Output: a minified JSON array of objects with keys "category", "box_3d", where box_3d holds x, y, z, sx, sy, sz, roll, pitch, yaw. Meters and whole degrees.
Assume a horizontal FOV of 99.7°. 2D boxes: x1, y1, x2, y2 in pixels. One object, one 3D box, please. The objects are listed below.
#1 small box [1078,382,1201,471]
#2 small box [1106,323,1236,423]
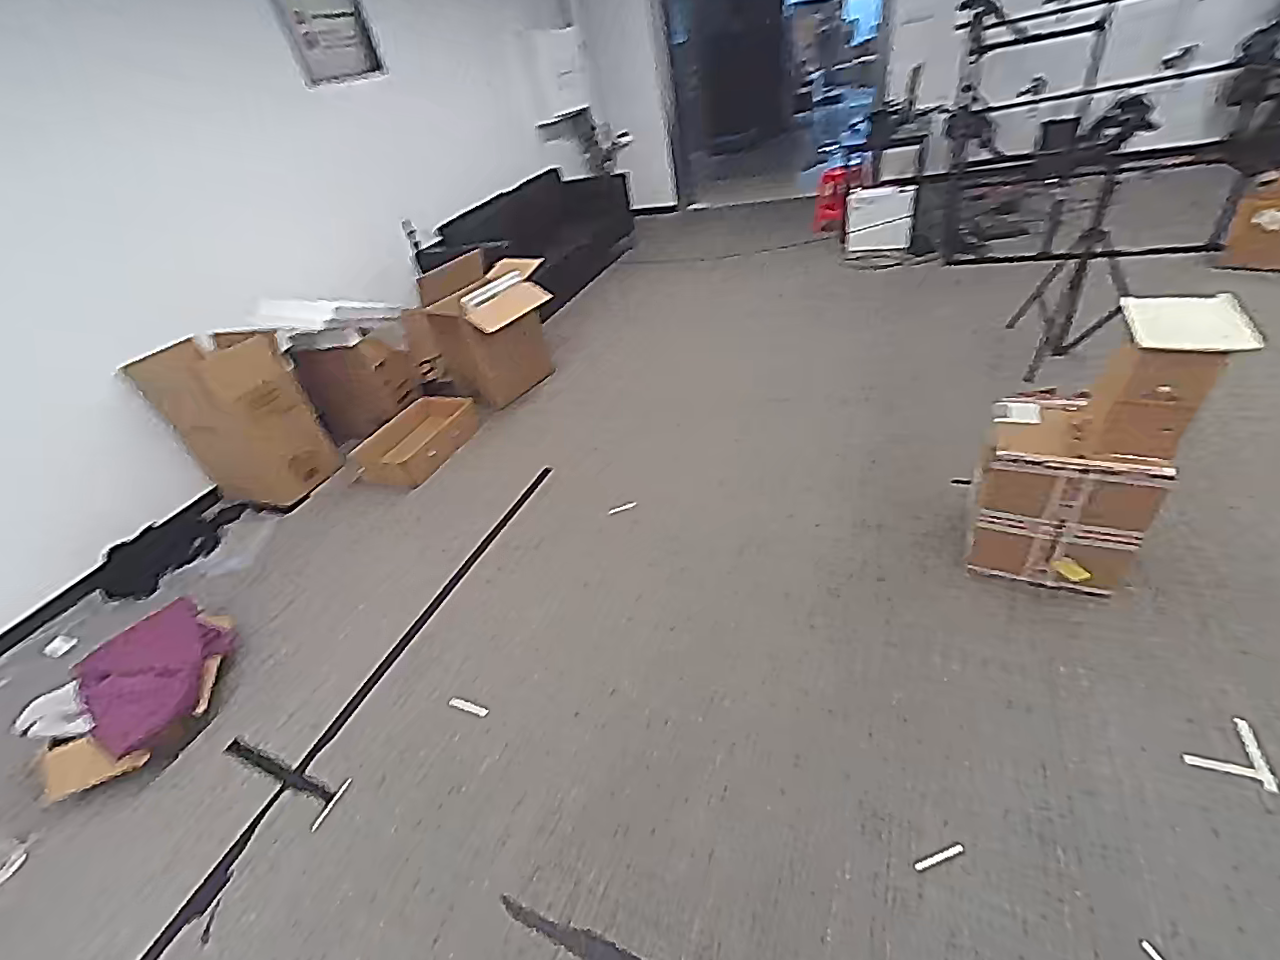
[{"category":"small box","box_3d":[1.300,-0.139,1.423,0.179,0.176,0.168,7,42,22]},{"category":"small box","box_3d":[1.278,-0.264,1.318,0.168,0.176,0.179,10,45,24]}]
